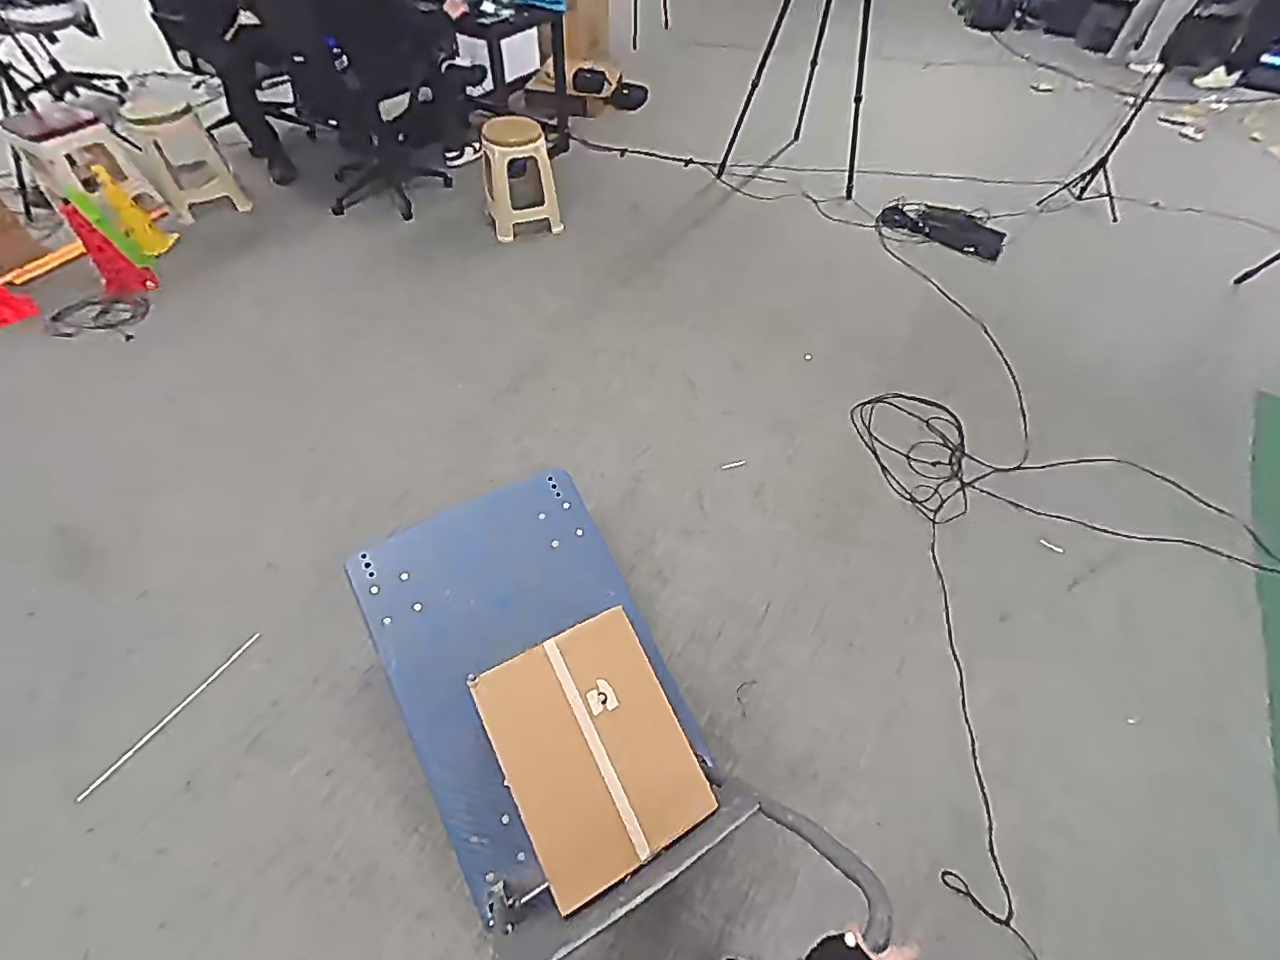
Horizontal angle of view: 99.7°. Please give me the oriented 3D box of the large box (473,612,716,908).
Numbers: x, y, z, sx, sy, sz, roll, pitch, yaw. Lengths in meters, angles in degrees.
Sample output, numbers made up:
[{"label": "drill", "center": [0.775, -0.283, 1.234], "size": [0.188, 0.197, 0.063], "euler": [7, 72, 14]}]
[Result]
[{"label": "large box", "center": [-0.108, 0.541, 1.123], "size": [0.320, 0.320, 0.408], "euler": [-23, 75, -20]}]
